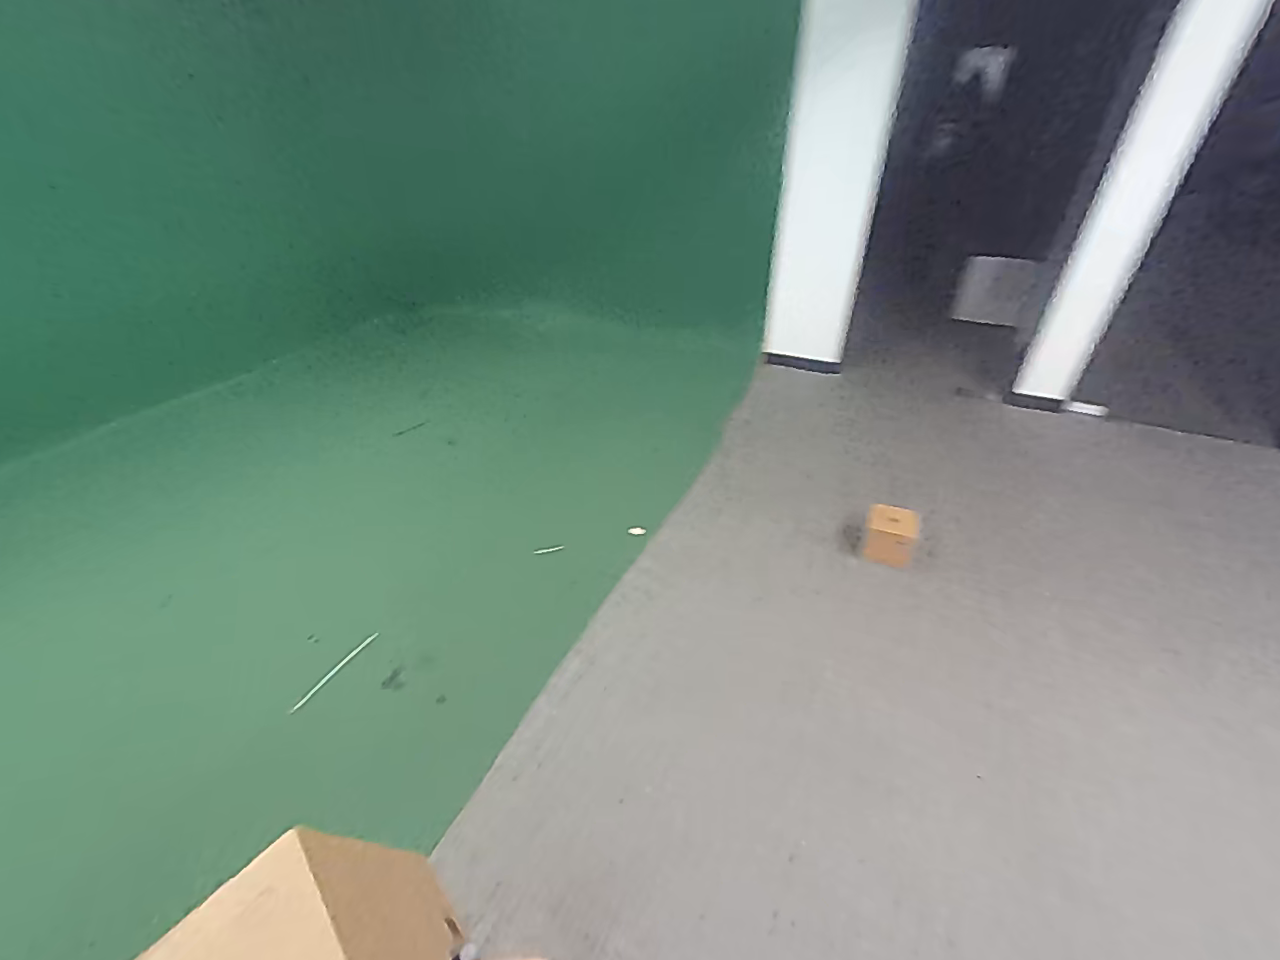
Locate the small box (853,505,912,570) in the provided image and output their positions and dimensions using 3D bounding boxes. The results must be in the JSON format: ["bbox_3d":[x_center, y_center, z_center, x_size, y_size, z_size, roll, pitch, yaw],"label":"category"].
[{"bbox_3d":[0.946,0.228,2.109,0.179,0.176,0.168,13,39,18],"label":"small box"}]
